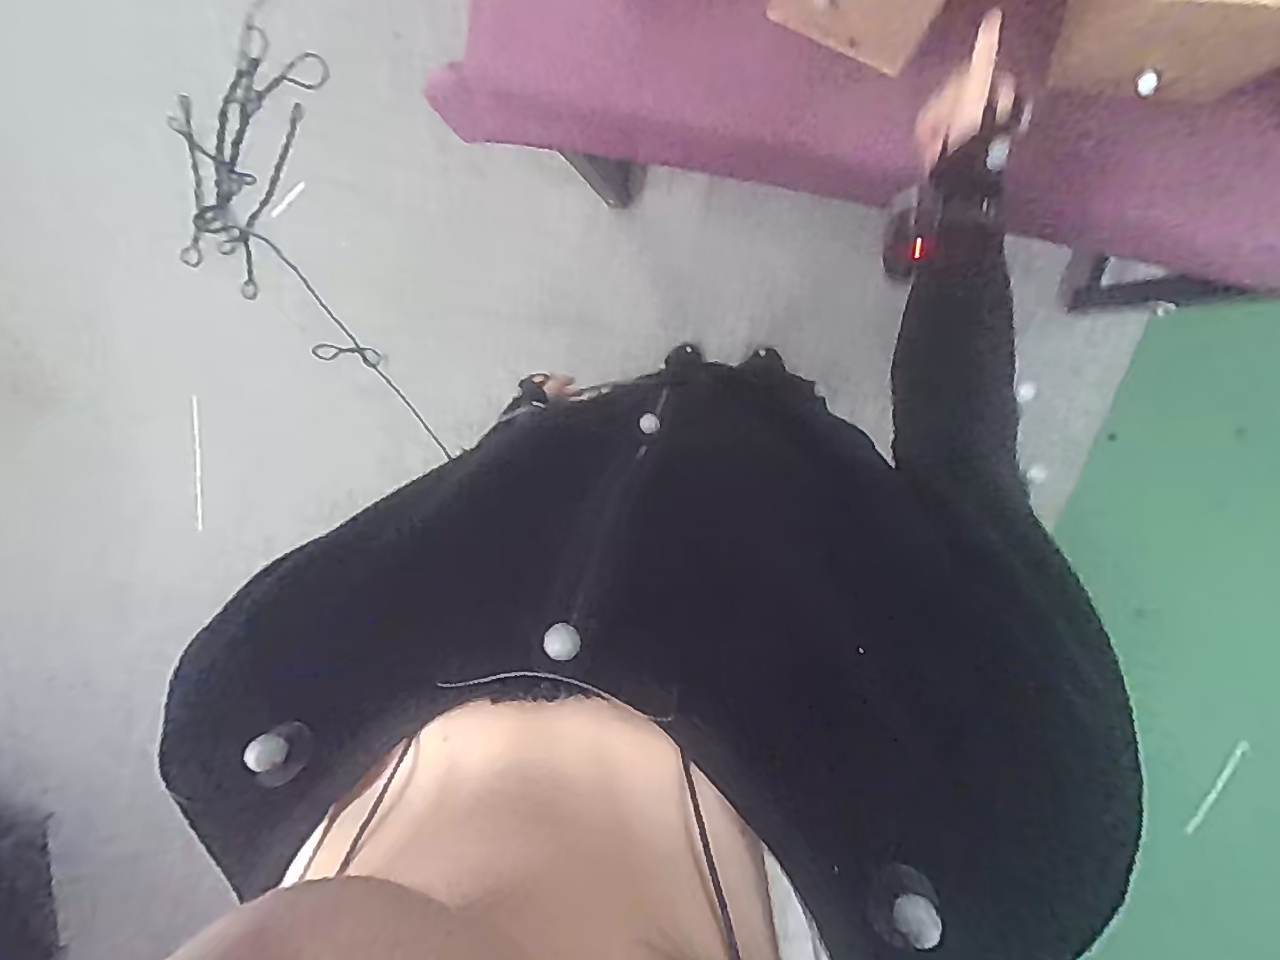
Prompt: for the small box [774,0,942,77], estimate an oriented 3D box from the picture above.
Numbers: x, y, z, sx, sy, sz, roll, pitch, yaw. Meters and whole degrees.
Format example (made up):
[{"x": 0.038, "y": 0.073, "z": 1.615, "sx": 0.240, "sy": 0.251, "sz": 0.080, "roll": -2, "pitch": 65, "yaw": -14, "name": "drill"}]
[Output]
[{"x": 0.241, "y": -0.542, "z": 0.520, "sx": 0.168, "sy": 0.176, "sz": 0.179, "roll": 28, "pitch": 105, "yaw": 2, "name": "small box"}]
